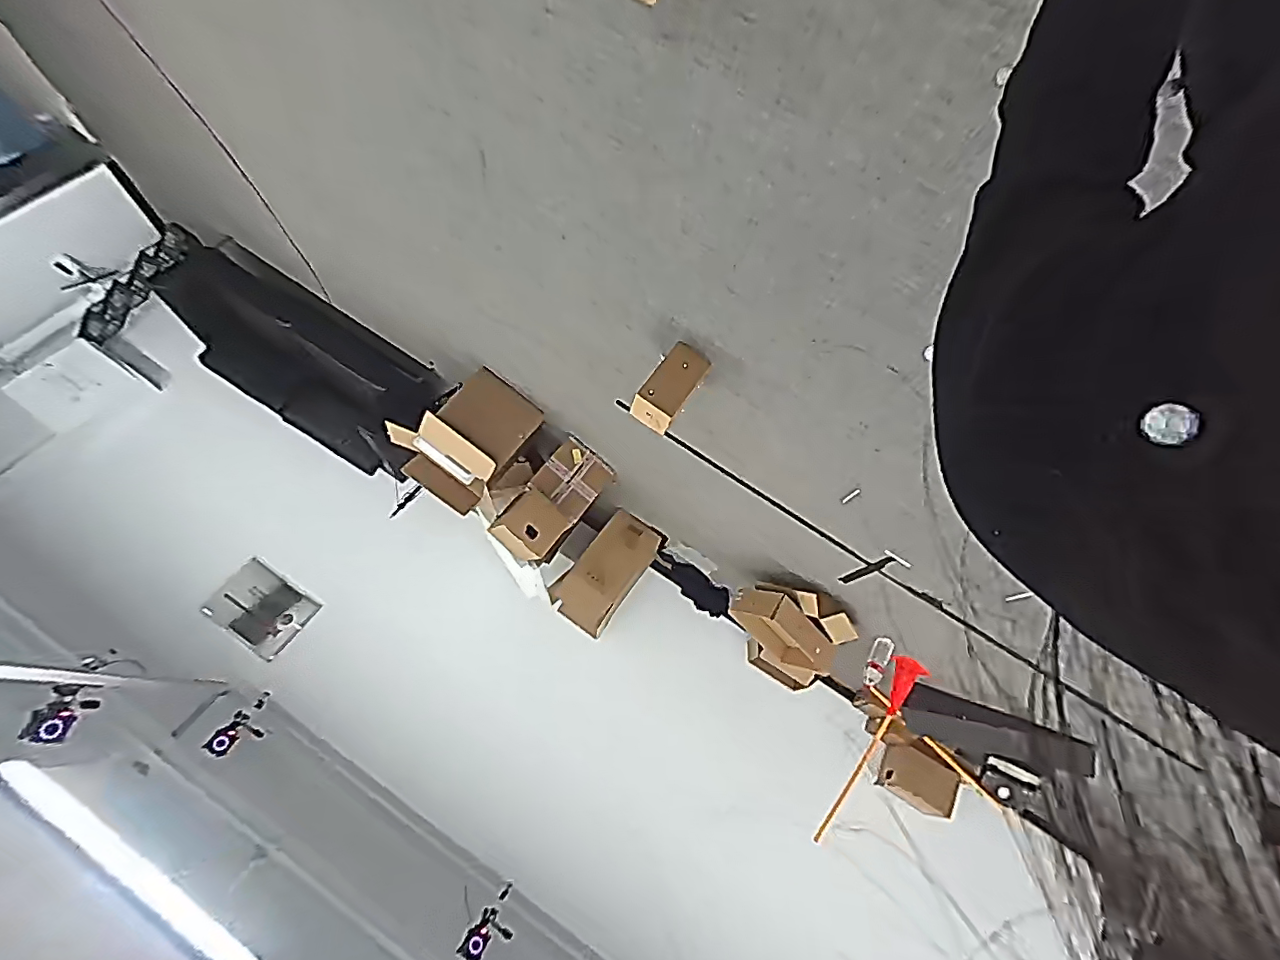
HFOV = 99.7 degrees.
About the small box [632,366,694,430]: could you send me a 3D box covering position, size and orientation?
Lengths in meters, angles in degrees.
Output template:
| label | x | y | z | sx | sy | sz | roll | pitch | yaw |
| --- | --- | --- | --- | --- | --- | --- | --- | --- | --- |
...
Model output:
| label | x | y | z | sx | sy | sz | roll | pitch | yaw |
| --- | --- | --- | --- | --- | --- | --- | --- | --- | --- |
| small box | 0.094 | -0.346 | 2.233 | 0.179 | 0.176 | 0.168 | 34 | 157 | 2 |
